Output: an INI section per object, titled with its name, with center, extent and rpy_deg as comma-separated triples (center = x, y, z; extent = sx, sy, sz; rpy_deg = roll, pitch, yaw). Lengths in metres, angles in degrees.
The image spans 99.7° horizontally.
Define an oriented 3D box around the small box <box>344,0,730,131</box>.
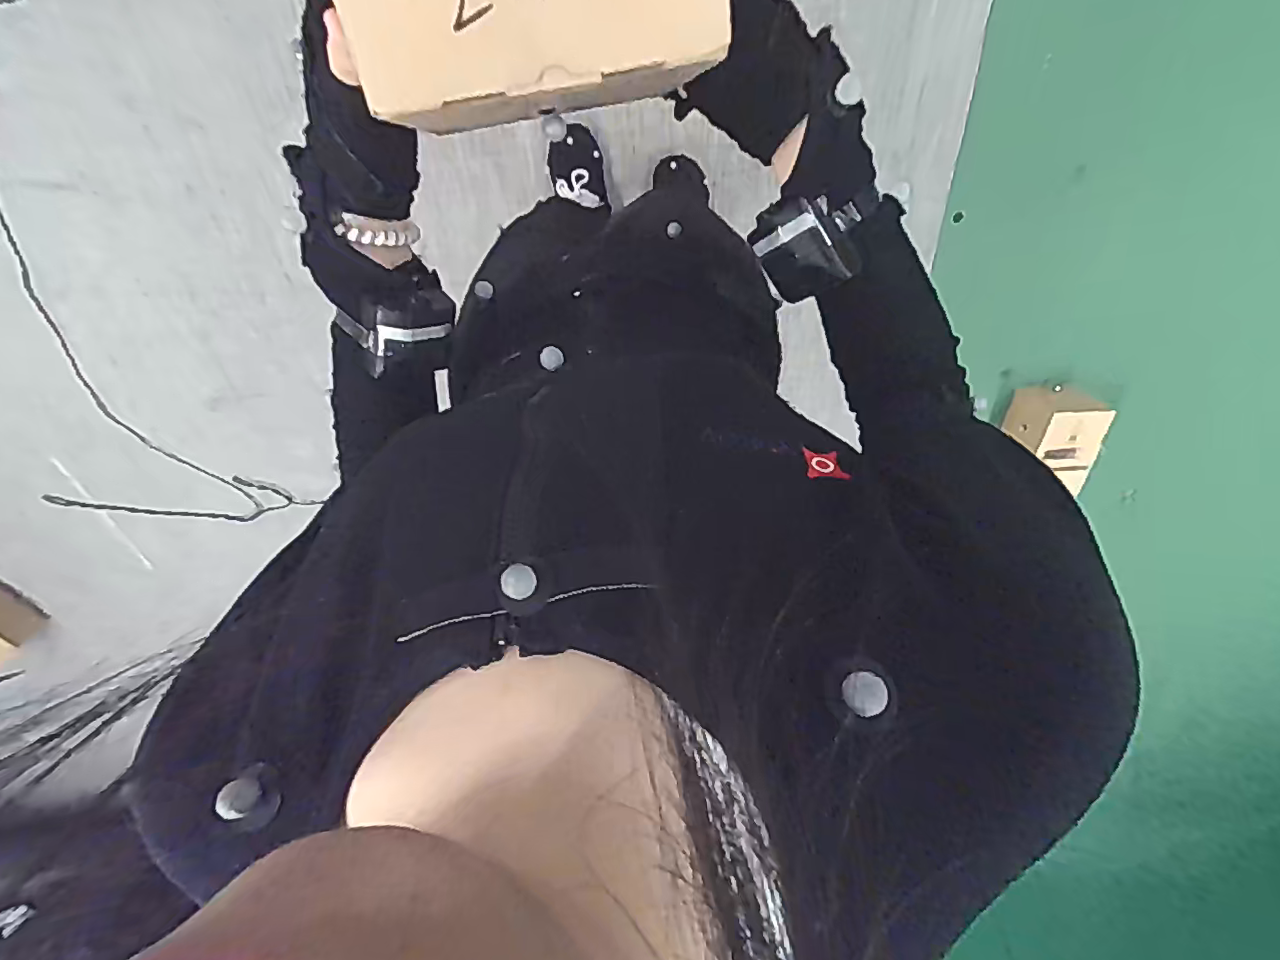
[small box]
center = -0.062, -0.293, 0.271
extent = 0.168, 0.176, 0.179
rpy_deg = -12, 122, -3
